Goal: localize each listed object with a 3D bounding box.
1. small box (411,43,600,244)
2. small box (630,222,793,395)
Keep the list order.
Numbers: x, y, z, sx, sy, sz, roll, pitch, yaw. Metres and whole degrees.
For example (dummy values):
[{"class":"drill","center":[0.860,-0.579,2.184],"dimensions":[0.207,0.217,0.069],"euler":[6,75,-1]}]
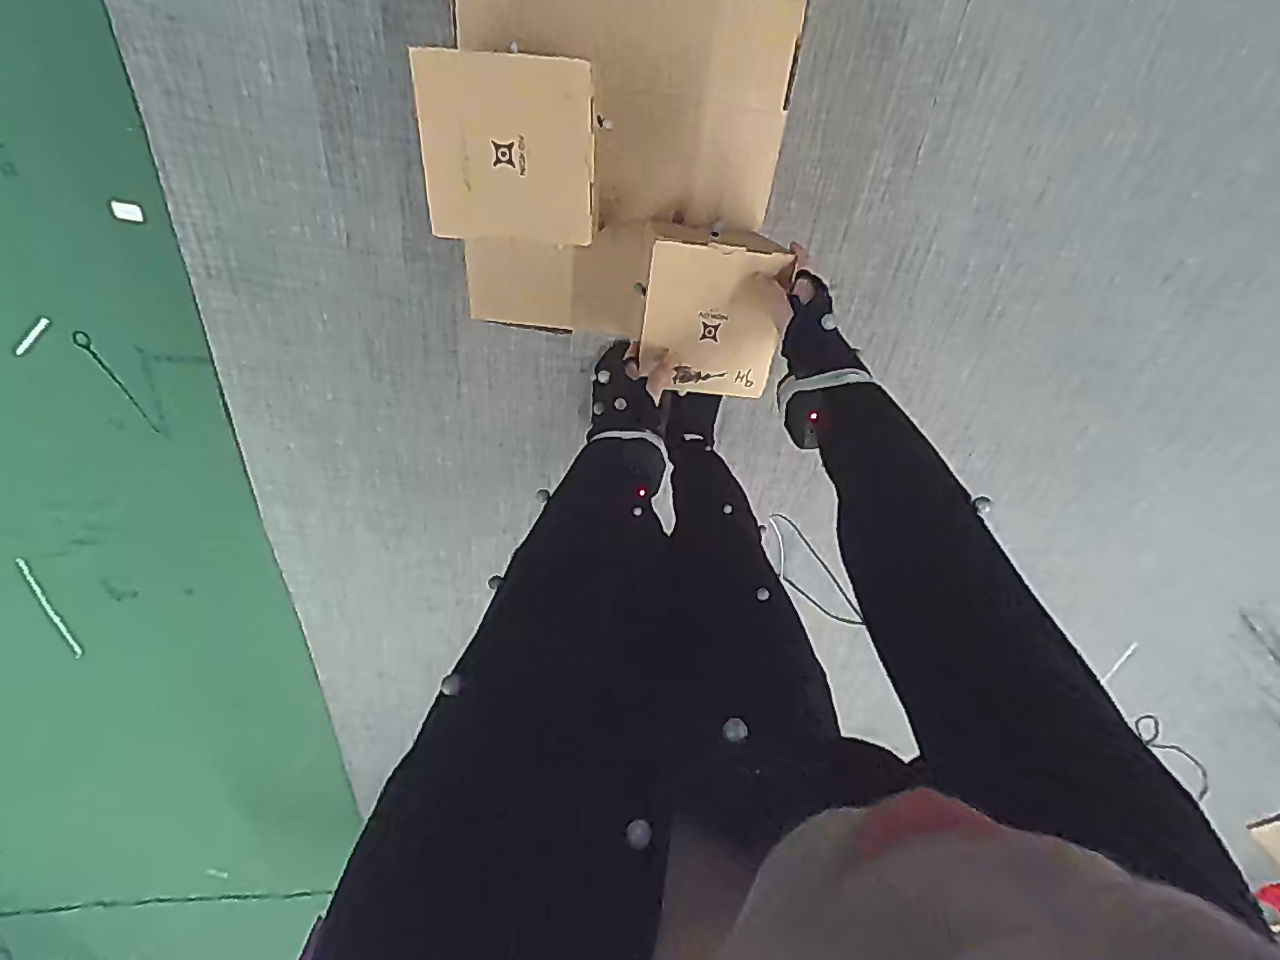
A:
[{"class":"small box","center":[-0.137,-0.375,0.619],"dimensions":[0.179,0.176,0.168],"euler":[3,119,-2]},{"class":"small box","center":[0.078,-0.230,0.708],"dimensions":[0.168,0.176,0.179],"euler":[5,120,-5]}]
